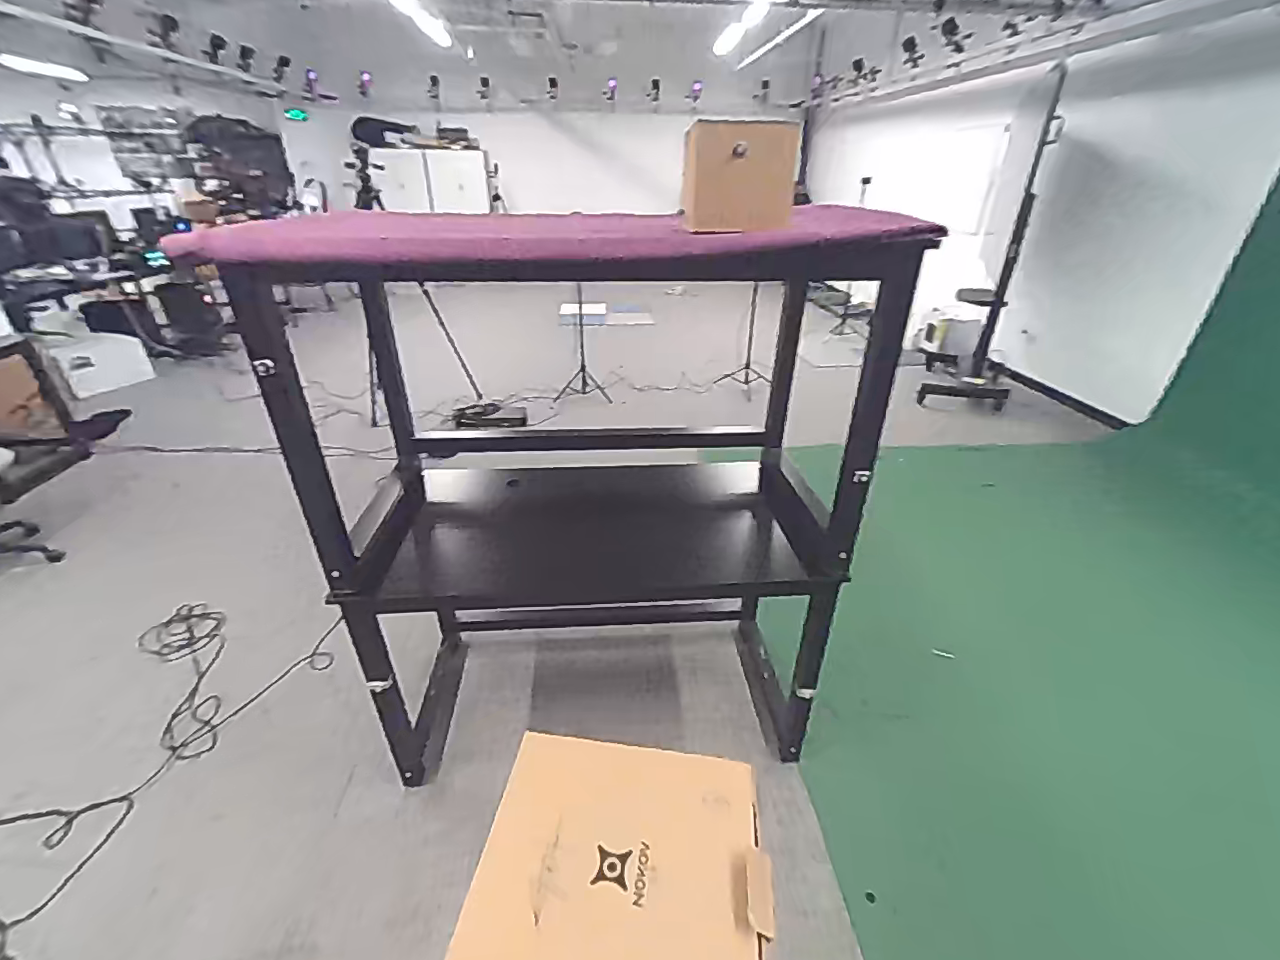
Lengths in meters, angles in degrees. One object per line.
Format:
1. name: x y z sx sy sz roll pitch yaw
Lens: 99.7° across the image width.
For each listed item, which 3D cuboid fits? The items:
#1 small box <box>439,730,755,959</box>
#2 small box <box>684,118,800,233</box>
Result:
1. small box: -0.018 0.310 0.381 0.179 0.176 0.168 3 30 7
2. small box: 0.173 -0.544 0.984 0.179 0.176 0.168 -1 28 -3
